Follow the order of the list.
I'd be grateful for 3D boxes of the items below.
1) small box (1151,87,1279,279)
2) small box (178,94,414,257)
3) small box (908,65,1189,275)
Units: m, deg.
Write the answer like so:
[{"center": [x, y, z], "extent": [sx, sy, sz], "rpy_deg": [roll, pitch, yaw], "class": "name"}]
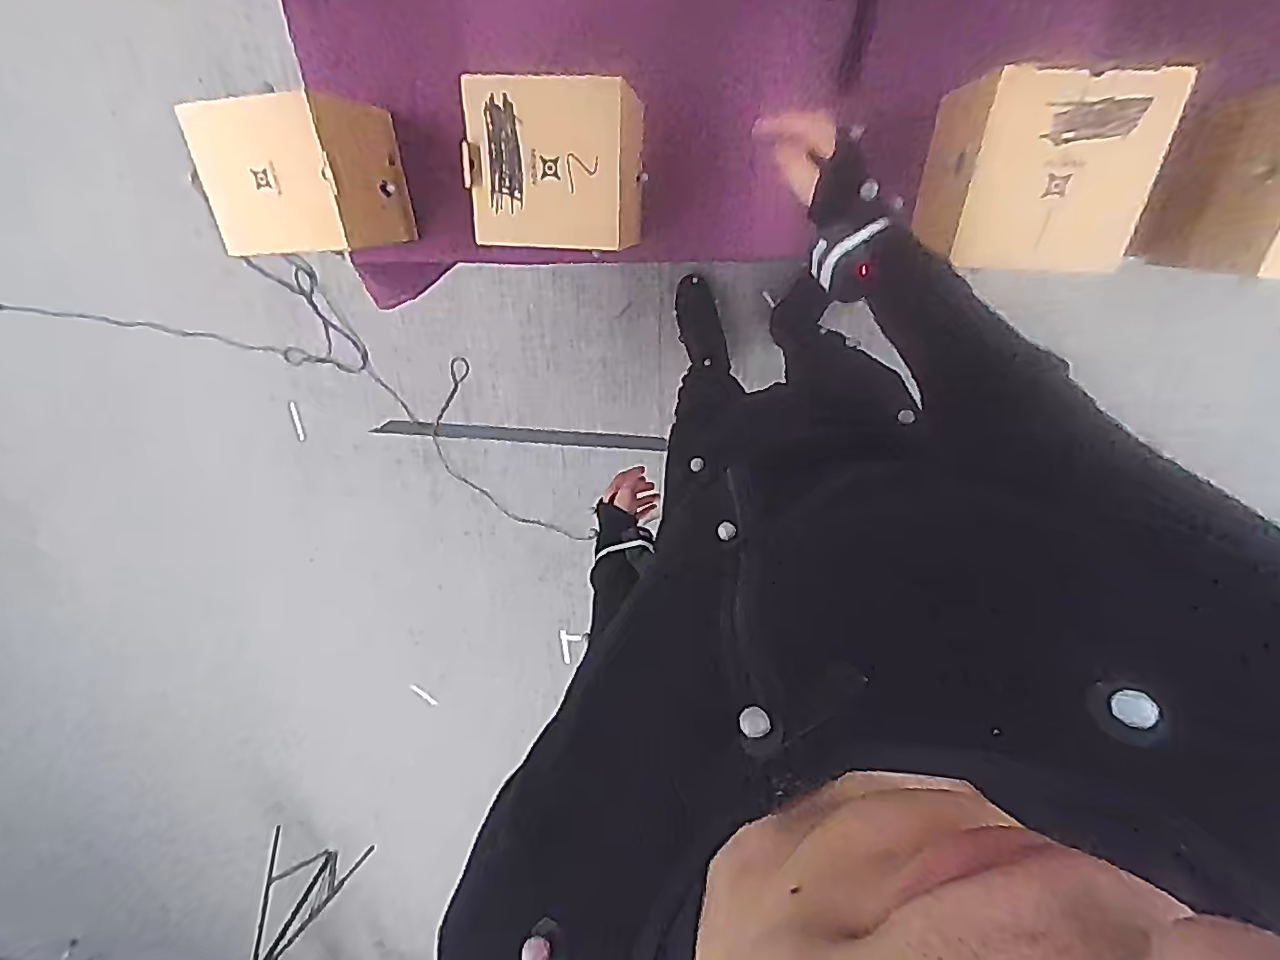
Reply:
[{"center": [0.699, -0.304, 0.559], "extent": [0.168, 0.176, 0.179], "rpy_deg": [7, 117, 7], "class": "small box"}, {"center": [-0.436, -0.391, 0.718], "extent": [0.179, 0.176, 0.168], "rpy_deg": [0, 116, 9], "class": "small box"}, {"center": [0.418, -0.332, 0.597], "extent": [0.168, 0.176, 0.179], "rpy_deg": [6, 118, 7], "class": "small box"}]
